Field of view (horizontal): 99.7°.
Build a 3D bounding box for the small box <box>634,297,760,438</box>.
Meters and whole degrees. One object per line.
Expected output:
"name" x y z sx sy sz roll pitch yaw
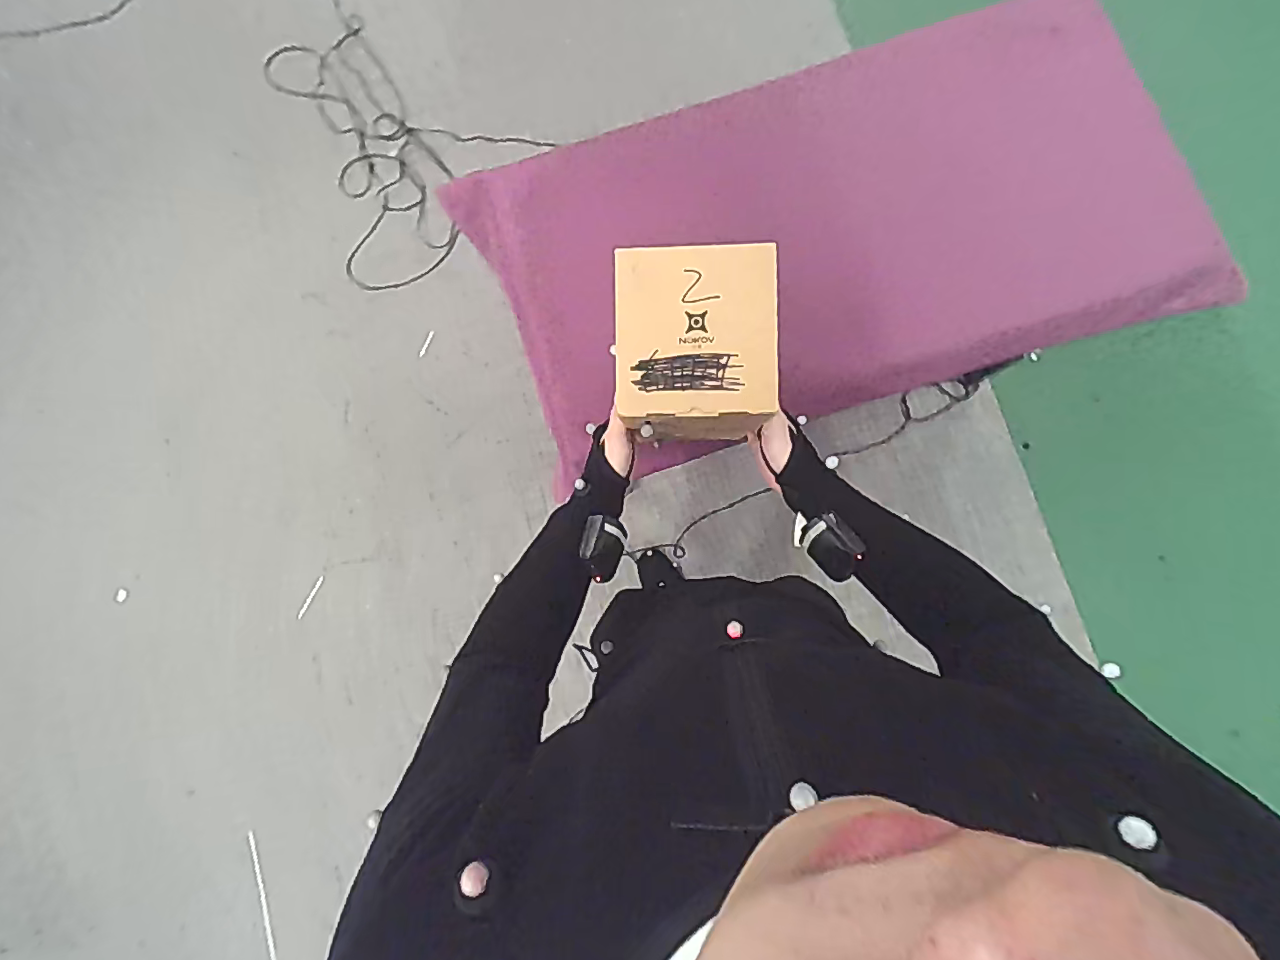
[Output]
"small box" 0.080 -0.153 0.791 0.168 0.176 0.179 0 89 3
